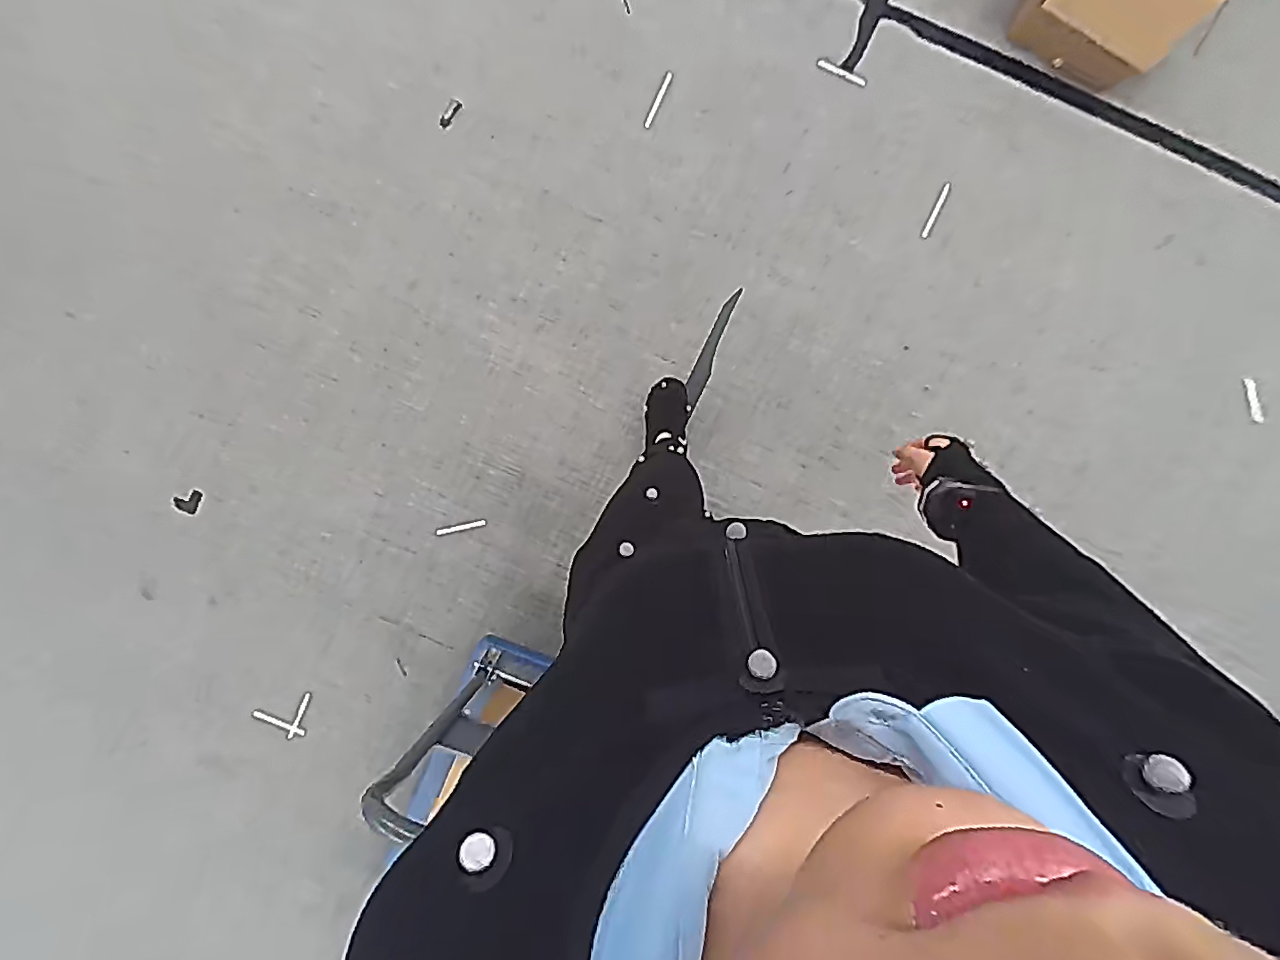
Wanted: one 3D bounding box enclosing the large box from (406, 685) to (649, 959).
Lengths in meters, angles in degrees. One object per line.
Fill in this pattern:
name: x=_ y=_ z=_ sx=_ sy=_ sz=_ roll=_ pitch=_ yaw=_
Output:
large box: x=-0.216 y=0.720 z=1.197 sx=0.408 sy=0.320 sz=0.320 roll=23 pitch=90 yaw=0
